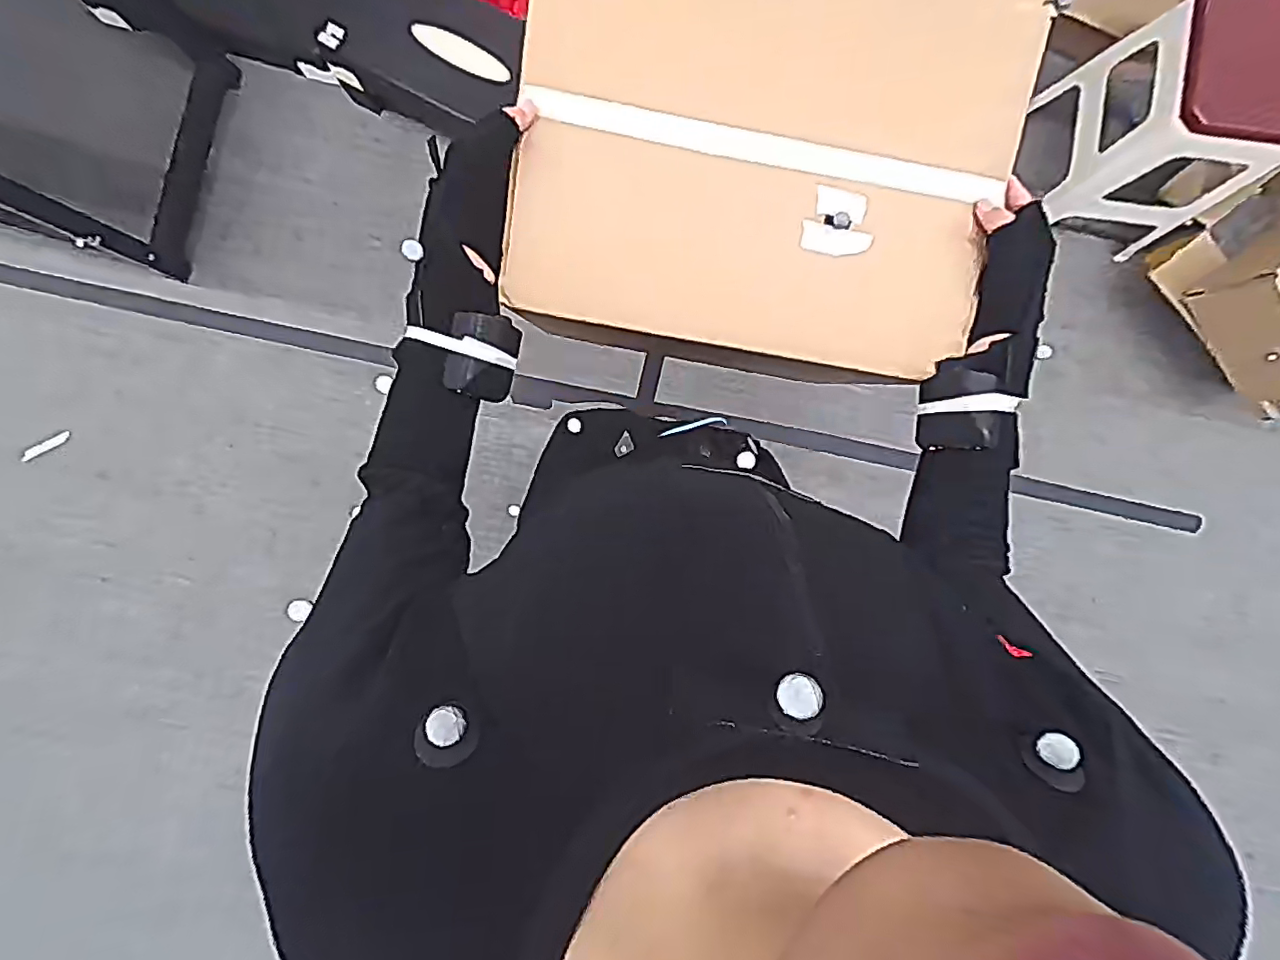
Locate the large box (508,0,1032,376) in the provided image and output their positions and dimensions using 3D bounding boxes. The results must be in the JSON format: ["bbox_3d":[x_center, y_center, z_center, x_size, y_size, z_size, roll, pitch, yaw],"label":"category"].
[{"bbox_3d":[0.094,-0.300,0.598,0.408,0.320,0.320,9,101,-5],"label":"large box"}]
